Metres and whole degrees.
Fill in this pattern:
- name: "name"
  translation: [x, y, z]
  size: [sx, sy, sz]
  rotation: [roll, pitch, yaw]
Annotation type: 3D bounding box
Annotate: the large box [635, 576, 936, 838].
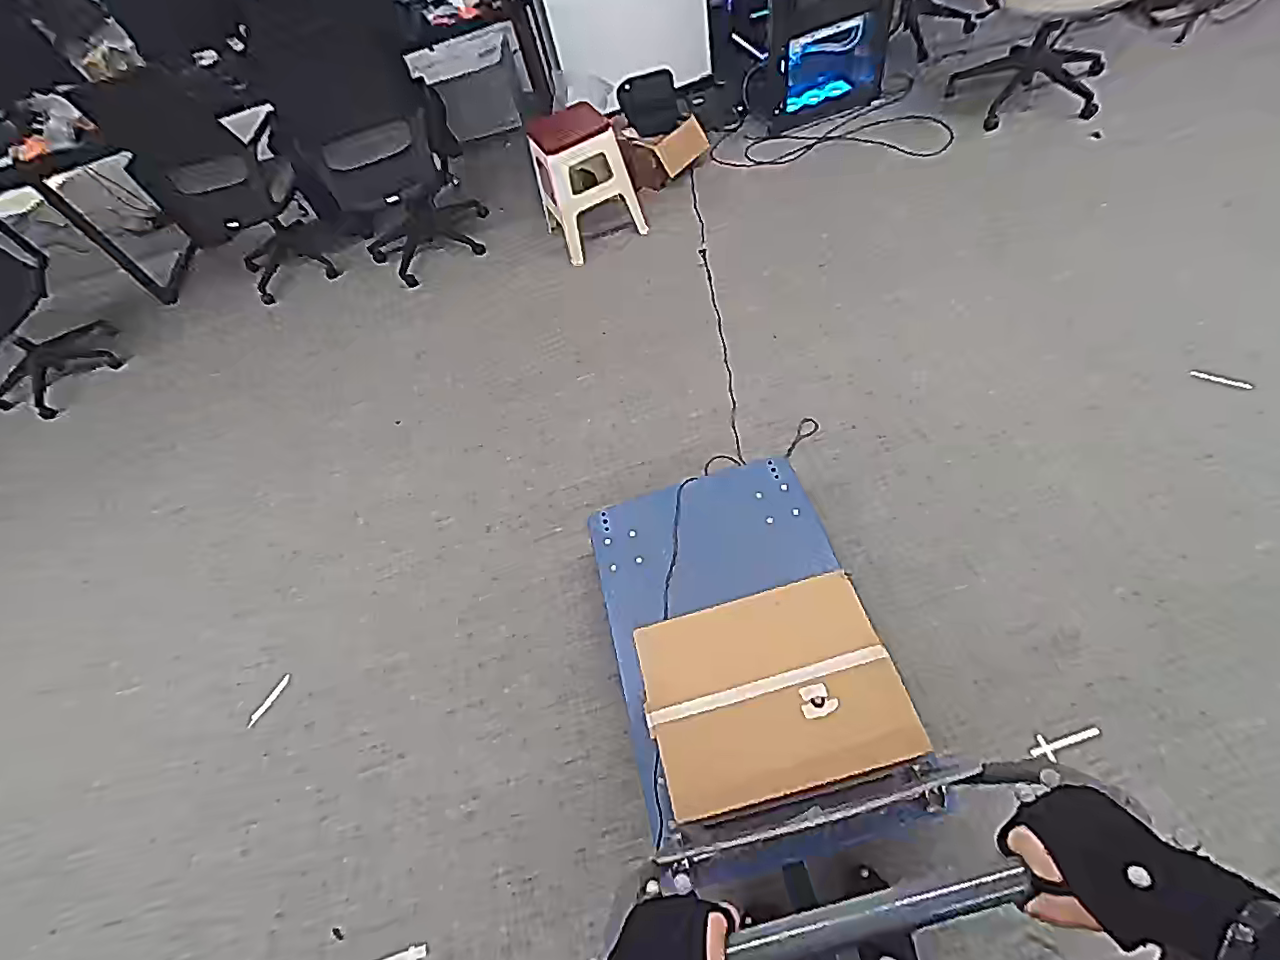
- name: "large box"
  translation: [0.238, 0.429, 1.000]
  size: [0.408, 0.320, 0.320]
  rotation: [-17, 56, 1]
